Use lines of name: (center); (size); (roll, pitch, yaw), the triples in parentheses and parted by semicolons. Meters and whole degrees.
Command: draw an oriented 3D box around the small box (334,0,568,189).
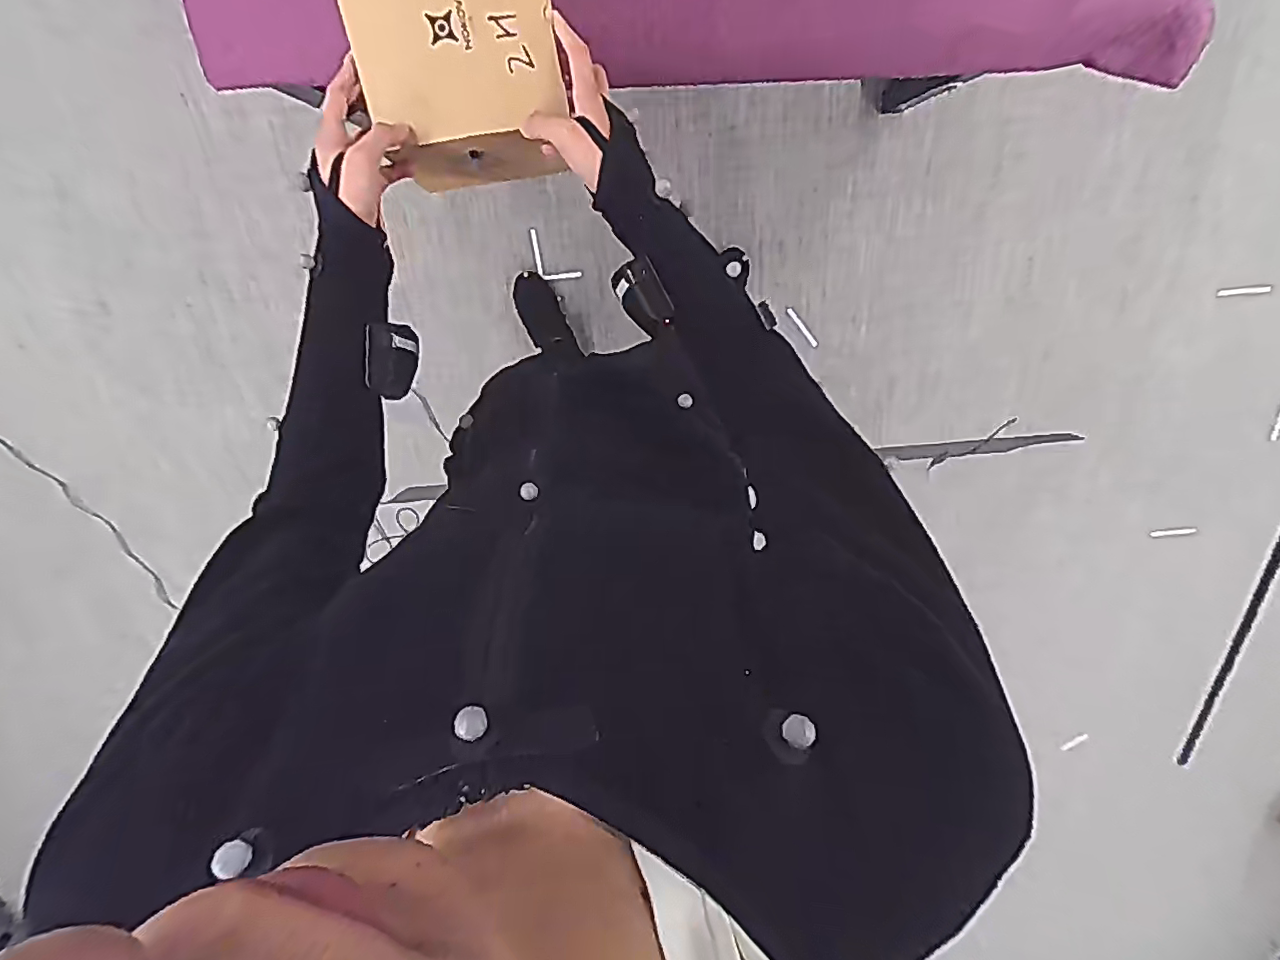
small box: (-0.171, -0.405, 0.537); (0.179, 0.176, 0.168); (-11, 108, -4)
